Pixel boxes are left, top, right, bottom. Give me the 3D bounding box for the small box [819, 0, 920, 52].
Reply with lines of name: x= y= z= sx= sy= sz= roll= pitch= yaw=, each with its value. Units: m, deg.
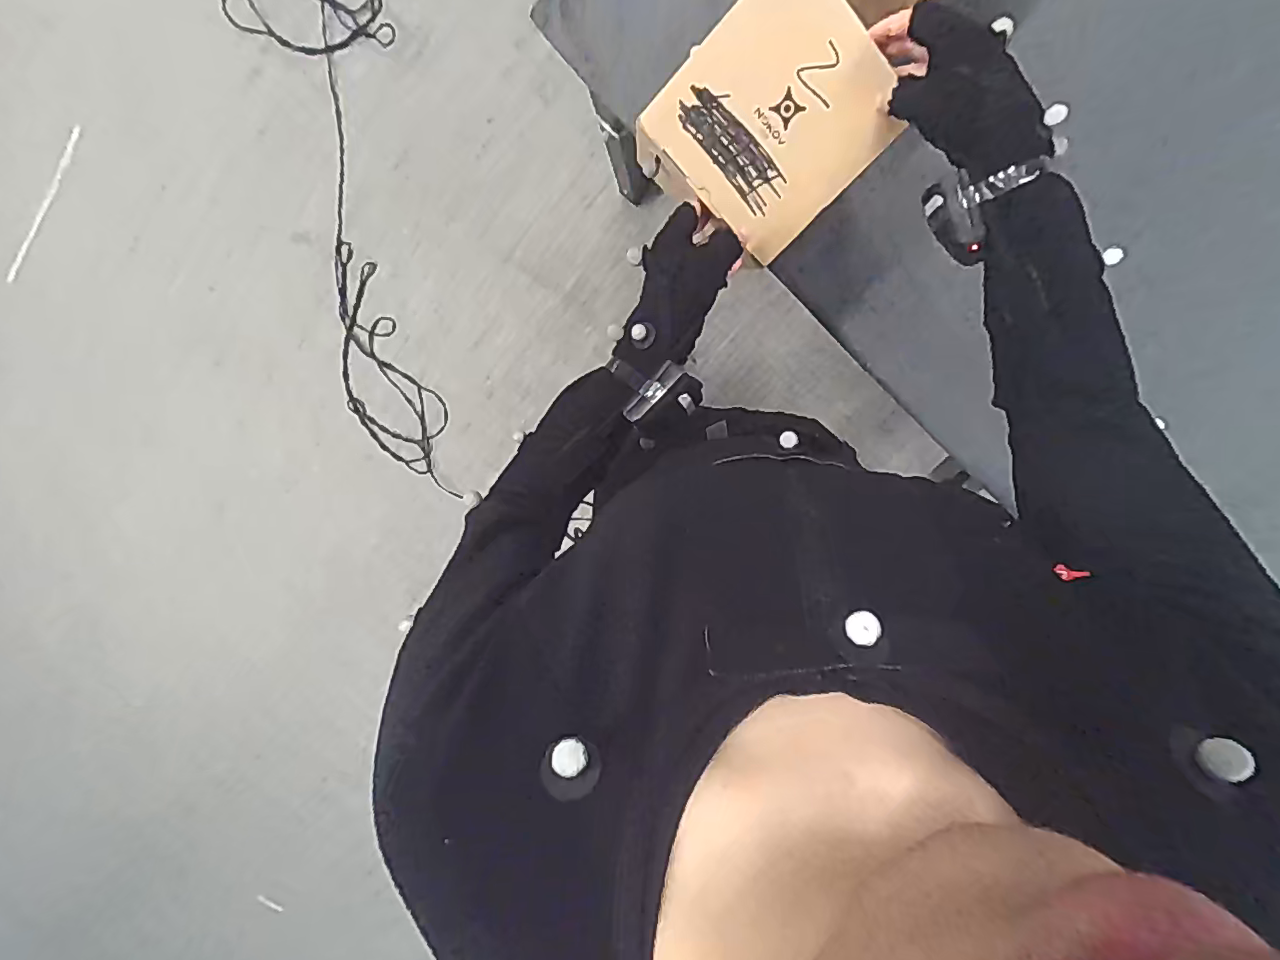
small box: x=0.246 y=-0.563 z=0.501 sx=0.168 sy=0.176 sz=0.179 roll=40 pitch=102 yaw=-7
